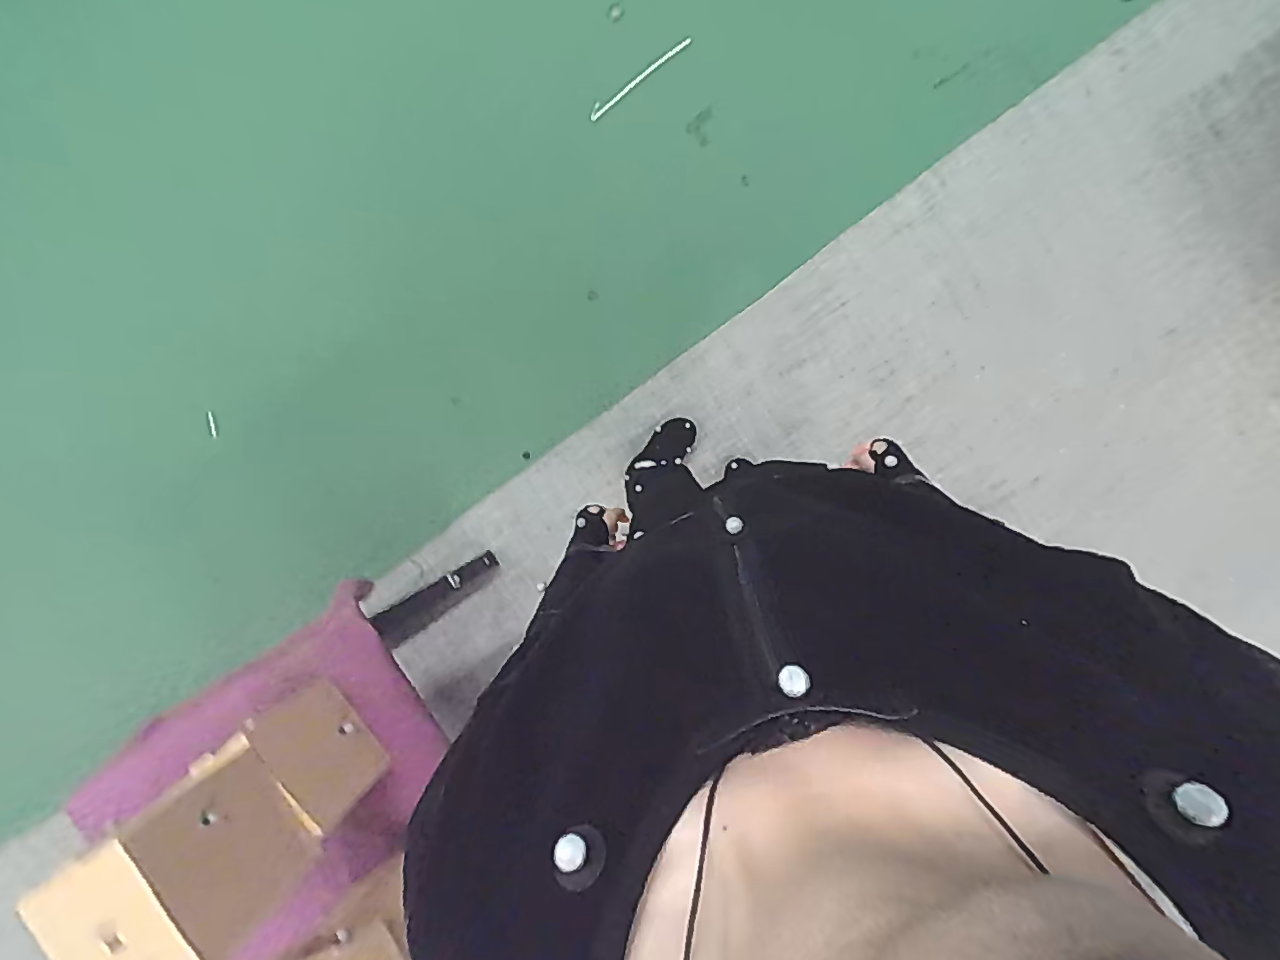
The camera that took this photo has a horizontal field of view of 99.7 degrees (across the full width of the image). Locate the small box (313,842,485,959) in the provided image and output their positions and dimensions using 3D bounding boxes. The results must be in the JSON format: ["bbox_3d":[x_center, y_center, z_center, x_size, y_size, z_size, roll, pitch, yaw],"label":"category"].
[{"bbox_3d":[-0.367,0.699,0.805,0.179,0.176,0.168,-41,89,9],"label":"small box"}]

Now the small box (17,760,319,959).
[{"bbox_3d":[-0.537,0.469,0.640,0.168,0.176,0.179,-33,92,9],"label":"small box"}]

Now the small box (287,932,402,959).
[{"bbox_3d":[-0.380,0.688,0.639,0.168,0.176,0.179,-26,92,10],"label":"small box"}]

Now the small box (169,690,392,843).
[{"bbox_3d":[-0.517,0.441,0.801,0.168,0.176,0.179,-38,89,9],"label":"small box"}]
